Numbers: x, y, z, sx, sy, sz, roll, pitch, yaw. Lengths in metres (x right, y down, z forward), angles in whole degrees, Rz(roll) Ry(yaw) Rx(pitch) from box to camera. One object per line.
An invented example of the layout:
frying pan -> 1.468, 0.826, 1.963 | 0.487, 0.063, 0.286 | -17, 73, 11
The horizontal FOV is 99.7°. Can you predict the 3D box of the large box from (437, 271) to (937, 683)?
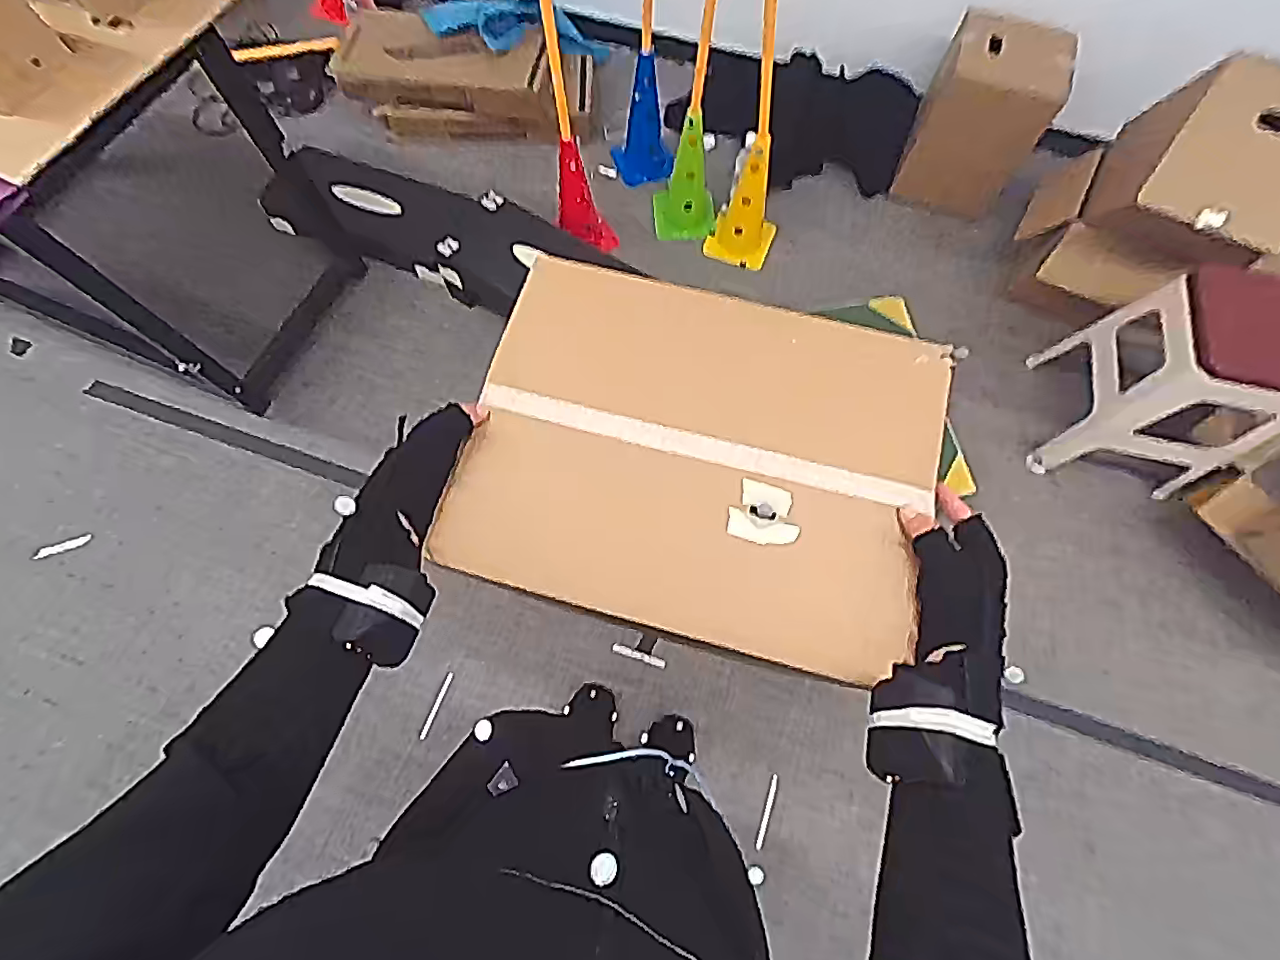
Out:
large box -> 0.053, 0.018, 0.629 | 0.408, 0.320, 0.320 | 15, 75, 4
